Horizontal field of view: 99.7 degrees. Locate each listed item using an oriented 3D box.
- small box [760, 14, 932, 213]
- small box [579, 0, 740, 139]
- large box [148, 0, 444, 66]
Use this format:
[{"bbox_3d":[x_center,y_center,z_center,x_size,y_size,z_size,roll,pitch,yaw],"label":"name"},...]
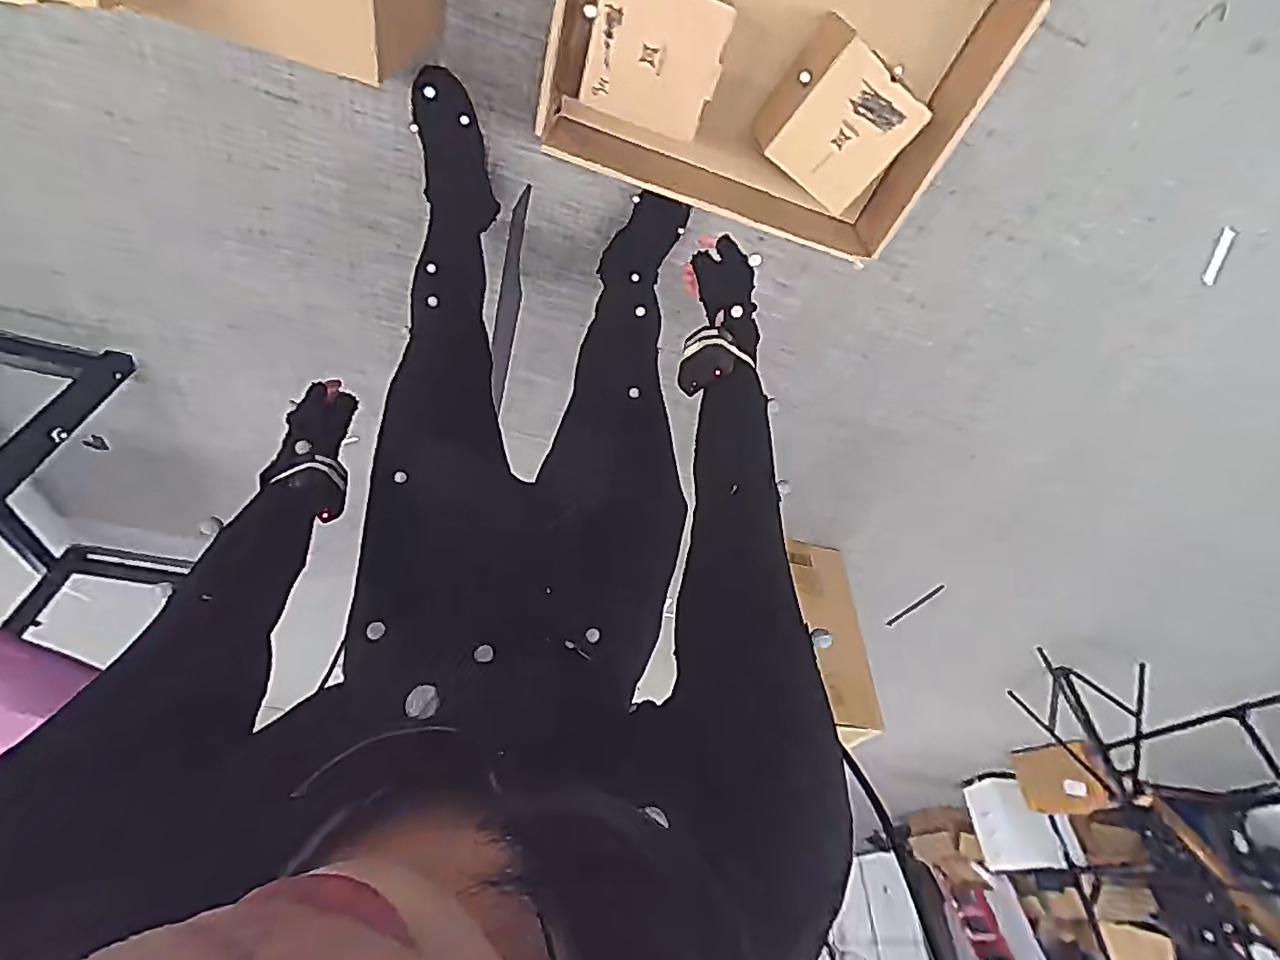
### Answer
[{"bbox_3d":[0.305,-0.568,0.839,0.168,0.176,0.179,26,134,-24],"label":"small box"},{"bbox_3d":[0.020,-0.631,0.774,0.179,0.176,0.168,12,137,-15],"label":"small box"},{"bbox_3d":[-0.470,-0.756,0.624,0.408,0.320,0.320,10,140,-11],"label":"large box"}]
